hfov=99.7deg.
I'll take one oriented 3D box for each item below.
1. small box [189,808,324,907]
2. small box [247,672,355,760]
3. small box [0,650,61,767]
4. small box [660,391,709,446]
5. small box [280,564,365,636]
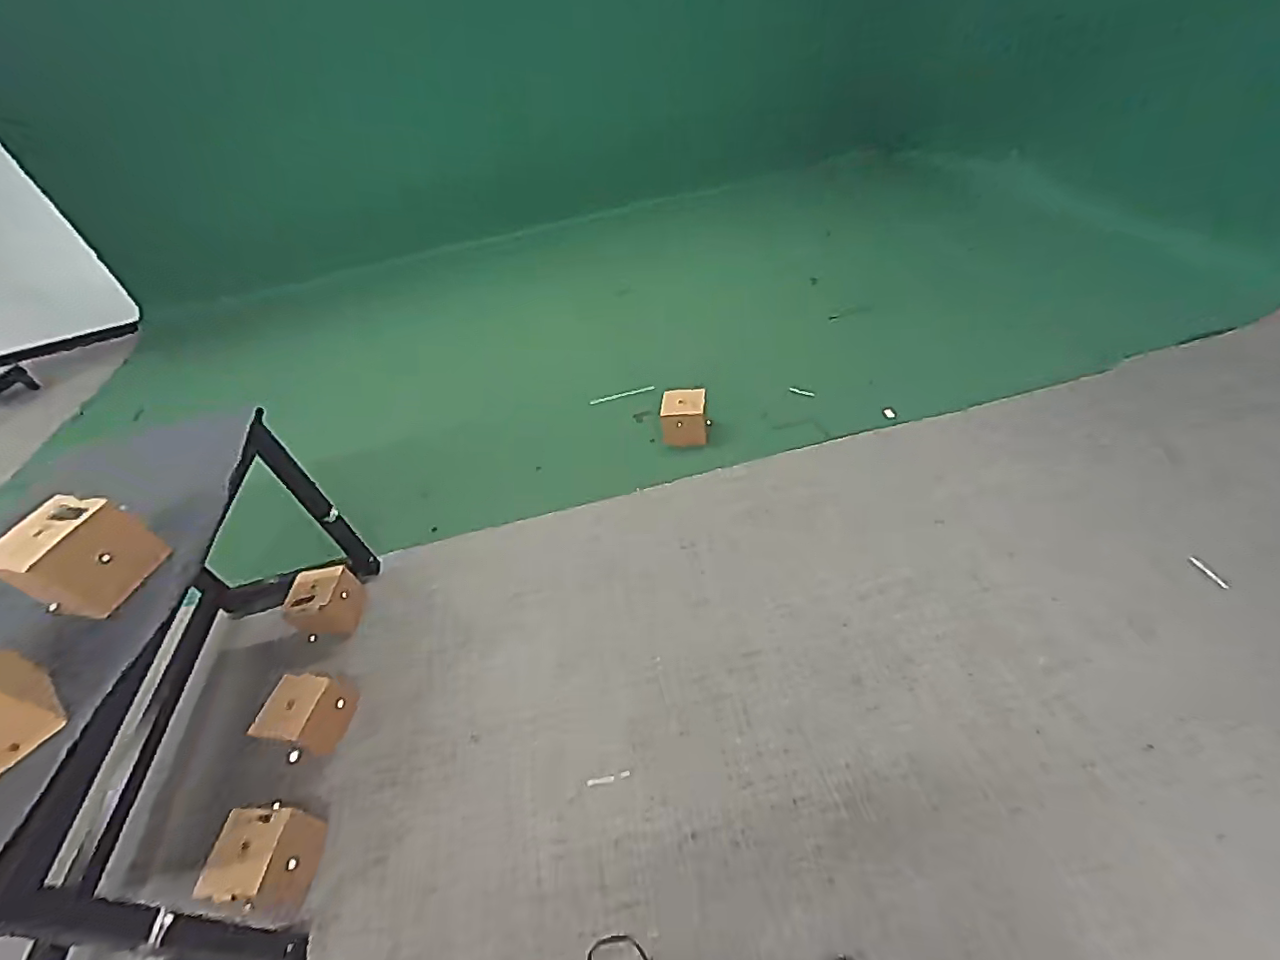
[{"bbox_3d":[-0.908,0.912,1.303,0.168,0.176,0.179,-5,45,7],"label":"small box"},{"bbox_3d":[-0.960,0.677,1.554,0.168,0.176,0.179,0,46,13],"label":"small box"},{"bbox_3d":[-1.079,0.367,0.846,0.179,0.176,0.168,22,54,31],"label":"small box"},{"bbox_3d":[0.188,-0.254,2.248,0.179,0.176,0.168,0,46,12],"label":"small box"},{"bbox_3d":[-1.072,0.416,1.845,0.168,0.176,0.179,-10,43,2],"label":"small box"}]
